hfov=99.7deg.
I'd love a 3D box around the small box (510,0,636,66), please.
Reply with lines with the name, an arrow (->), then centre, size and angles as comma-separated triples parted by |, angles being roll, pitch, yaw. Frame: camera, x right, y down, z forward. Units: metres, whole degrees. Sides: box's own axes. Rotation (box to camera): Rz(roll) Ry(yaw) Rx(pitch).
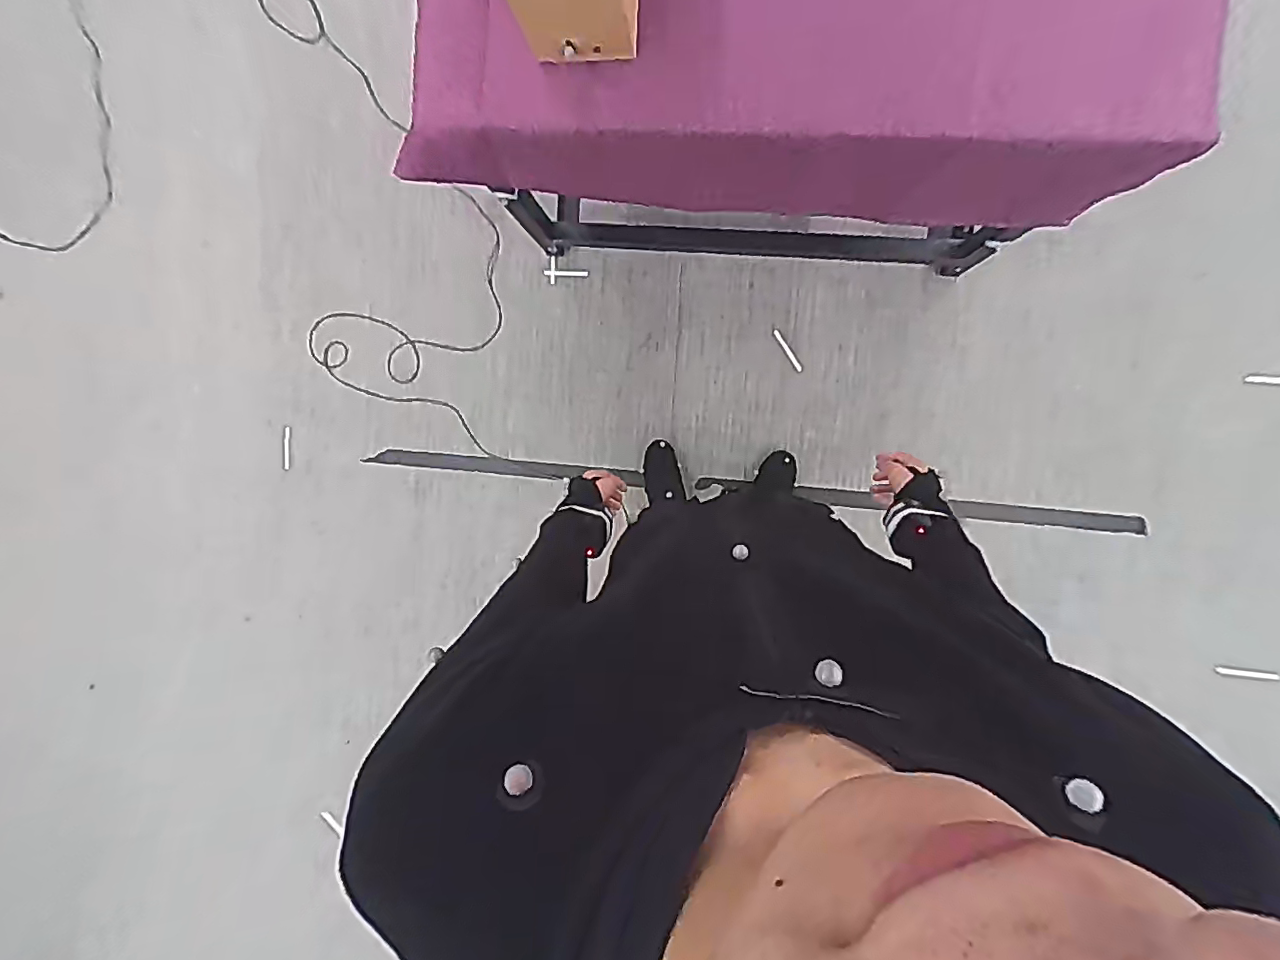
small box -> -0.098, -0.745, 0.779 | 0.168, 0.176, 0.179 | 3, 95, 7
